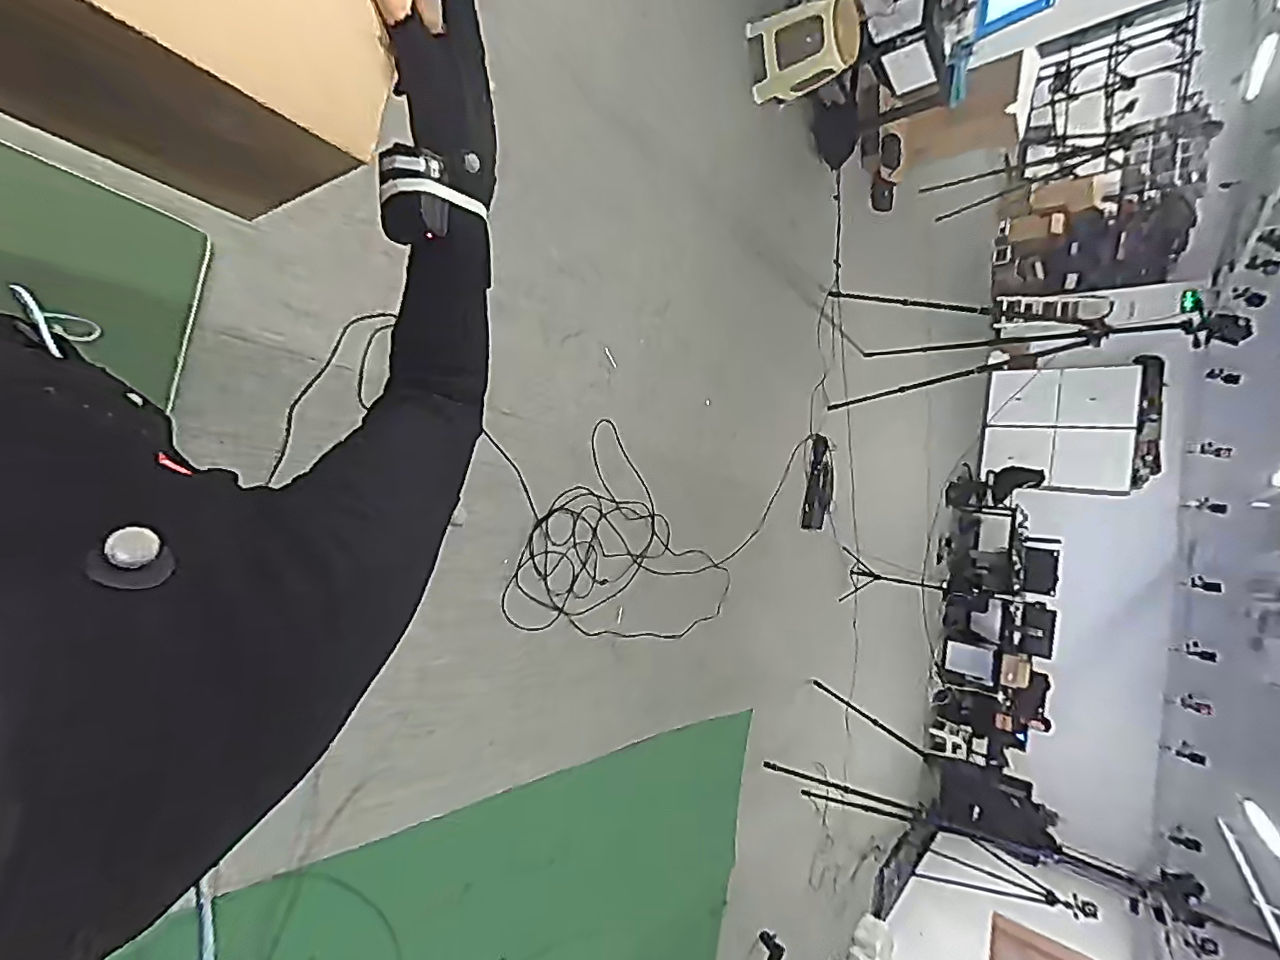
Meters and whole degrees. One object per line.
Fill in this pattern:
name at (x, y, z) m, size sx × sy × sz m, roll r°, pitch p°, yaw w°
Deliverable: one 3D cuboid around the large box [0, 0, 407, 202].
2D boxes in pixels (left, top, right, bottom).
large box at (-0.405, -0.449, 0.349) m, size 0.408 × 0.320 × 0.320 m, roll 12°, pitch 91°, yaw -51°
